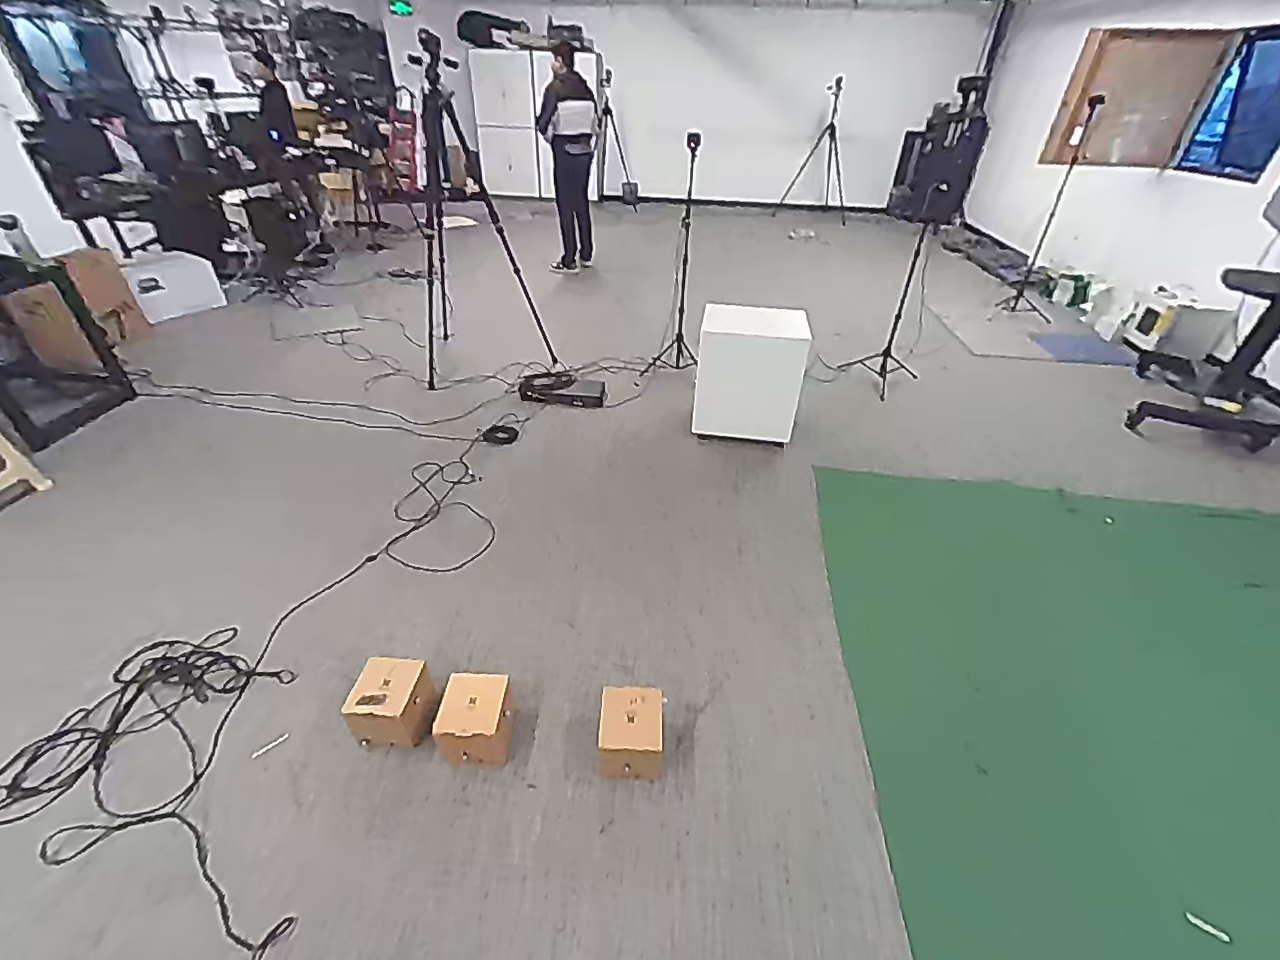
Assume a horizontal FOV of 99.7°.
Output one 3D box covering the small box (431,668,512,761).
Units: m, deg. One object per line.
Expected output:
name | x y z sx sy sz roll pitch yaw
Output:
small box | -0.458 0.649 1.500 0.168 0.176 0.179 2 38 0

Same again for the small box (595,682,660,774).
small box | -0.033 0.682 1.480 0.168 0.176 0.179 3 37 -1

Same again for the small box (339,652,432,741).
small box | -0.709 0.615 1.531 0.168 0.176 0.179 4 36 2
